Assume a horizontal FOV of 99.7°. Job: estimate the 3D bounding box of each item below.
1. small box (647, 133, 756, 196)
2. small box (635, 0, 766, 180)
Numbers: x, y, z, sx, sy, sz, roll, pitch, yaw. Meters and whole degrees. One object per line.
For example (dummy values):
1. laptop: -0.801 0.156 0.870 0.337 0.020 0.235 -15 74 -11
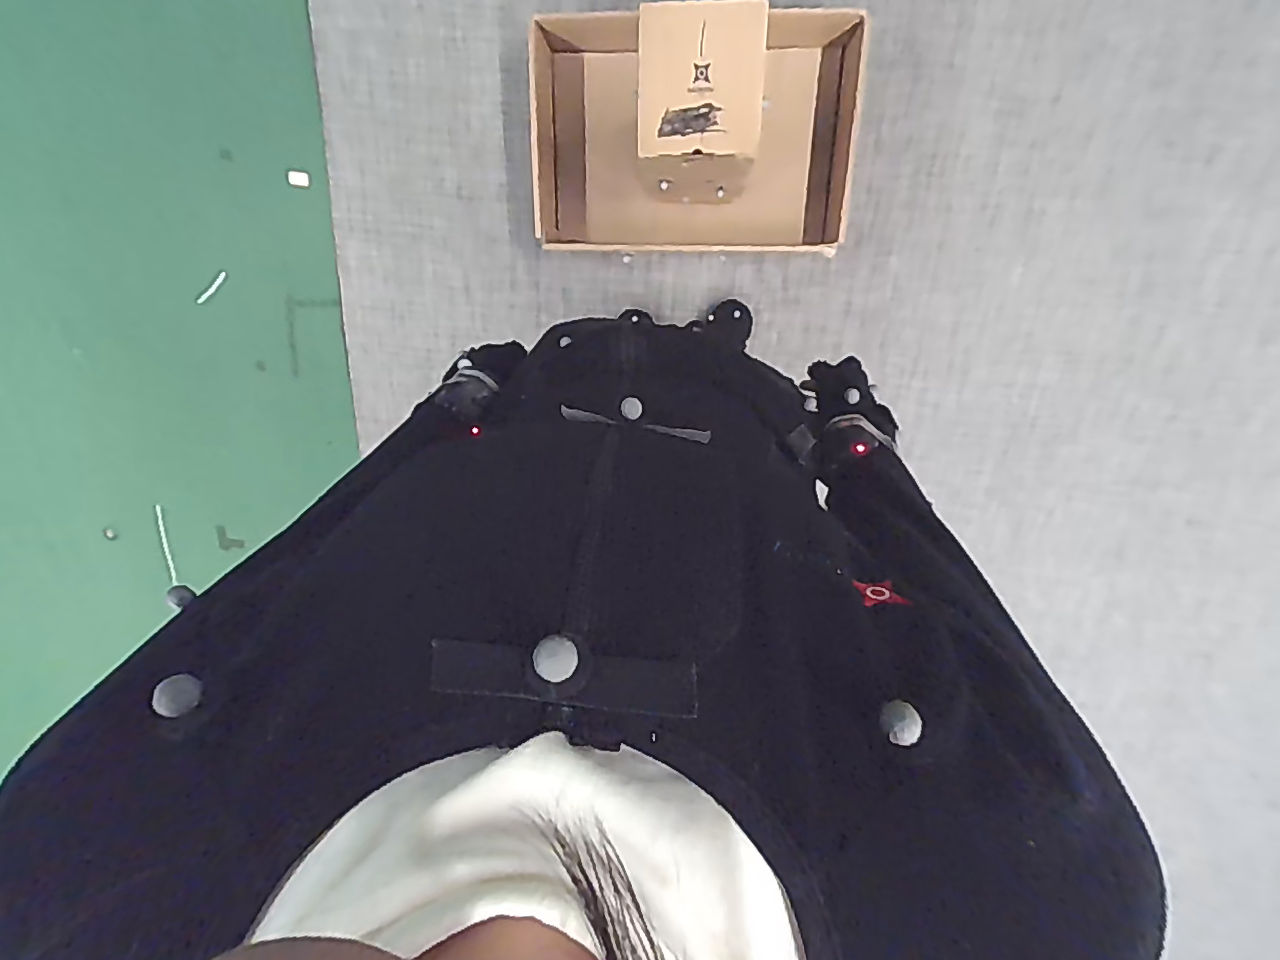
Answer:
1. small box: 0.100 -0.595 0.927 0.179 0.176 0.168 -1 108 5
2. small box: 0.084 -0.550 0.786 0.168 0.176 0.179 3 107 4
